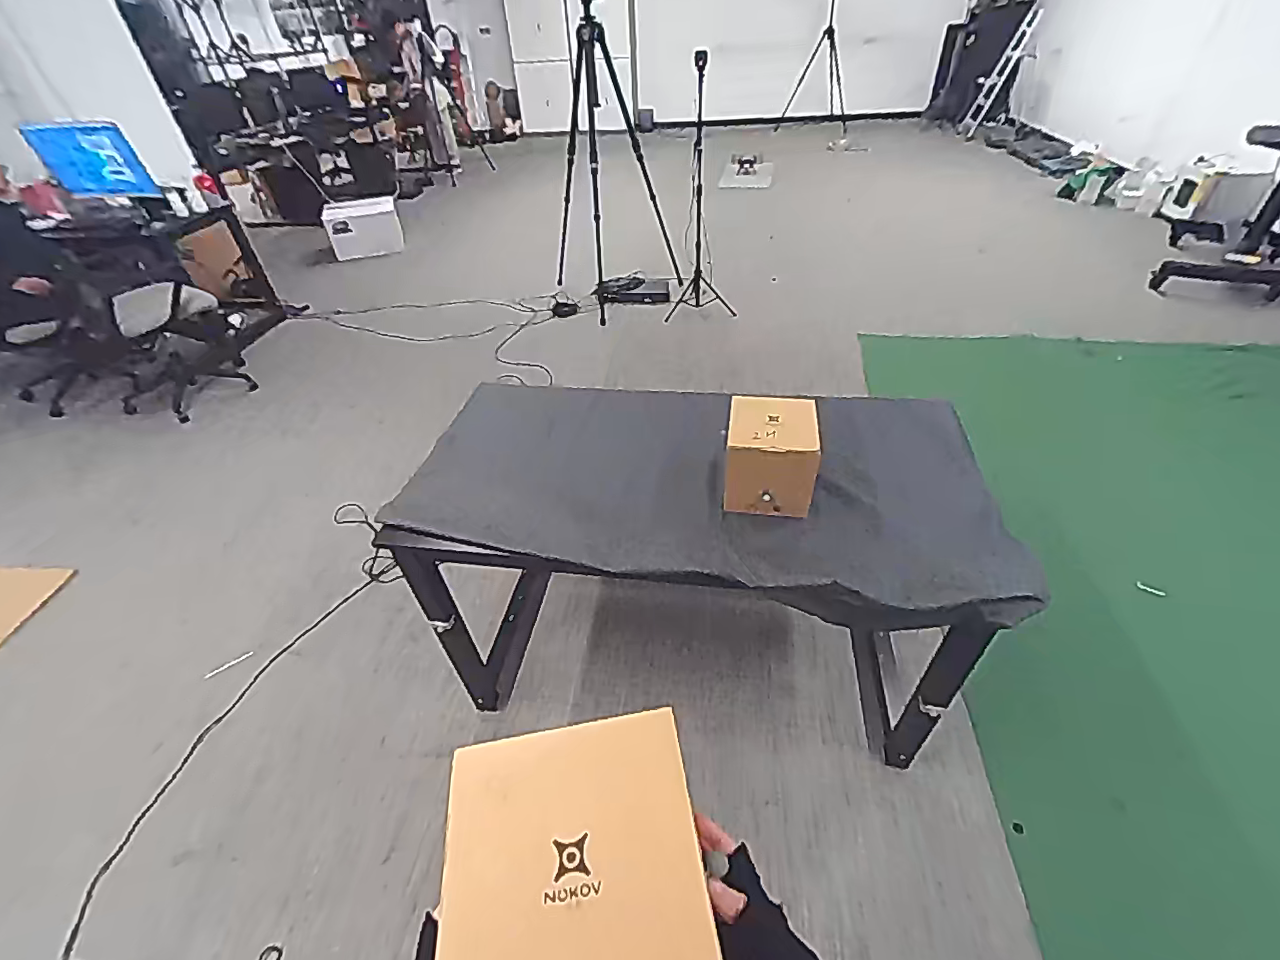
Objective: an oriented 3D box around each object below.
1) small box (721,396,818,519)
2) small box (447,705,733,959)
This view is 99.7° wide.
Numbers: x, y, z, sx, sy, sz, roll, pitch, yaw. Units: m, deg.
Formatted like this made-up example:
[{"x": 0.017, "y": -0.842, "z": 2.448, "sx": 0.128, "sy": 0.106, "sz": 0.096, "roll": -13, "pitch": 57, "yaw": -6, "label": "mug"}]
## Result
[{"x": 0.254, "y": -0.047, "z": 1.086, "sx": 0.168, "sy": 0.176, "sz": 0.179, "roll": 5, "pitch": 42, "yaw": 9, "label": "small box"}, {"x": -0.032, "y": 0.298, "z": 0.401, "sx": 0.168, "sy": 0.176, "sz": 0.179, "roll": -9, "pitch": 46, "yaw": -4, "label": "small box"}]
